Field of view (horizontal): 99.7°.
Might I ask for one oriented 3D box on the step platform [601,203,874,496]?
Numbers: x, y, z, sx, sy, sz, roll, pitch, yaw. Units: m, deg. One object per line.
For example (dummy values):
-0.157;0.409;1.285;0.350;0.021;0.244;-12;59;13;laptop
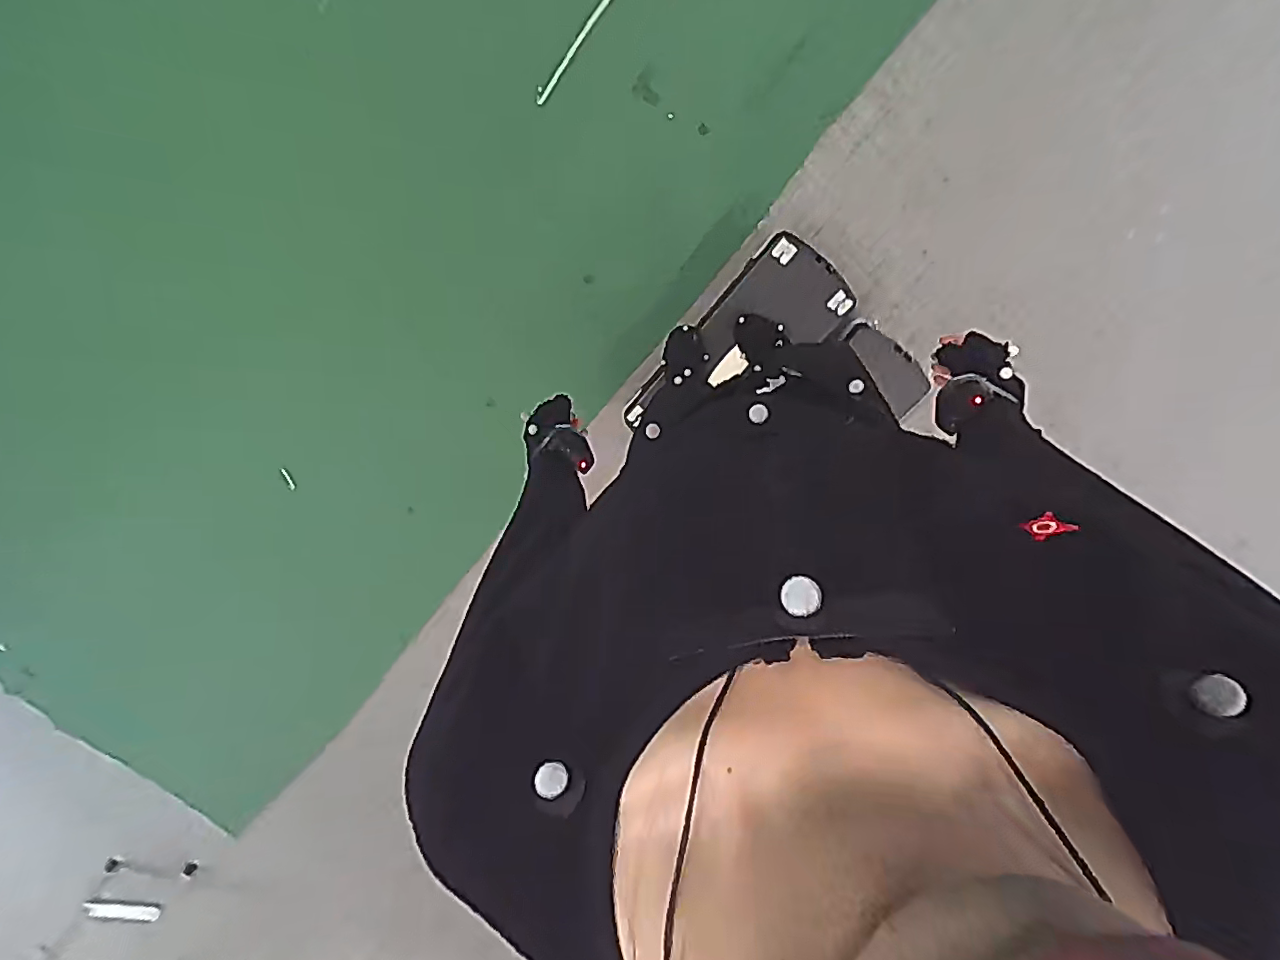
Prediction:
0.210;-0.296;1.313;0.286;0.204;0.684;39;108;-8;step platform
